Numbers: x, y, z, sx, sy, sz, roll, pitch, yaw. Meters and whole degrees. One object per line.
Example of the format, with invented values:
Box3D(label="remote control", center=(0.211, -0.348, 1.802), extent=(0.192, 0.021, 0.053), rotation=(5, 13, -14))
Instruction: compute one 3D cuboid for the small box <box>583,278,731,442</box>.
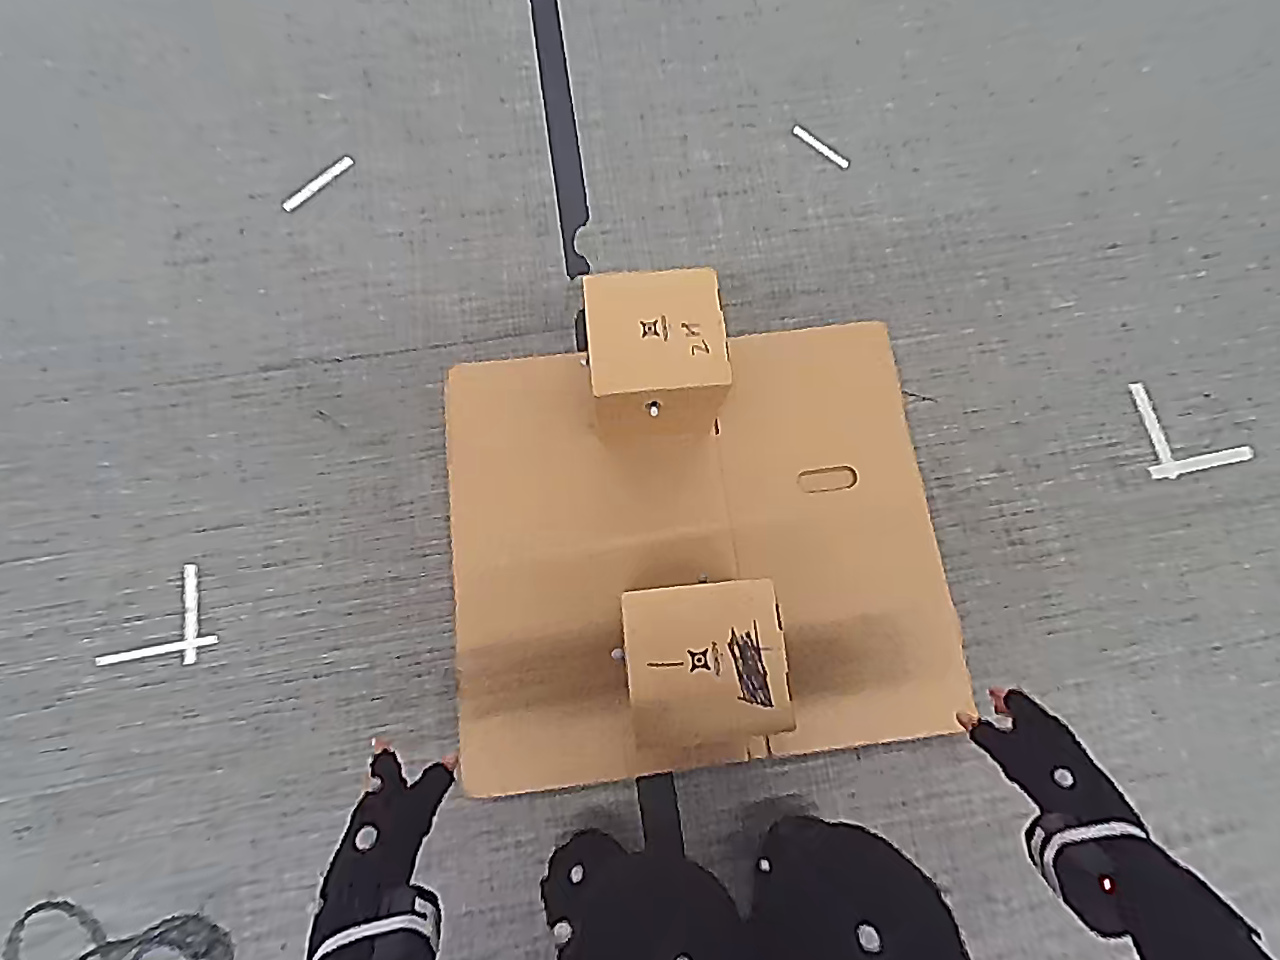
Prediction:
Box3D(label="small box", center=(0.018, -0.157, 0.751), extent=(0.179, 0.176, 0.168), rotation=(-5, 76, -4))

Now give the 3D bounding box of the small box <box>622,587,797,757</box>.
Box3D(label="small box", center=(0.071, 0.221, 0.663), extent=(0.179, 0.176, 0.168), rotation=(-5, 77, -3))
